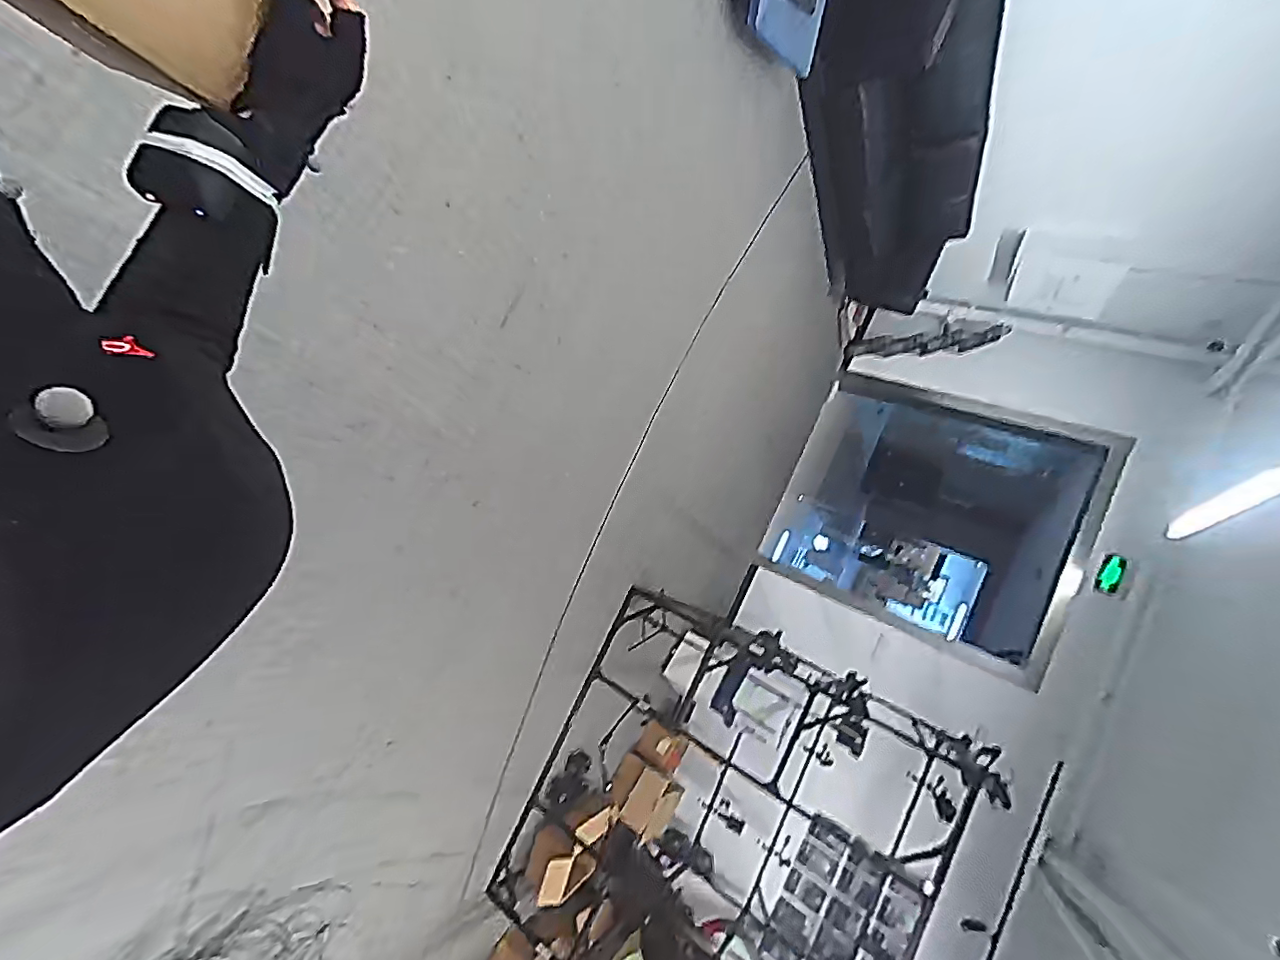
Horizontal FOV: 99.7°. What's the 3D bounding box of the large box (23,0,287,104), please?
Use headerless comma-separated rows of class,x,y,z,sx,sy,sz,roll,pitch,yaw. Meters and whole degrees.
large box,-0.442,-0.525,0.303,0.320,0.320,0.408,-59,154,5
